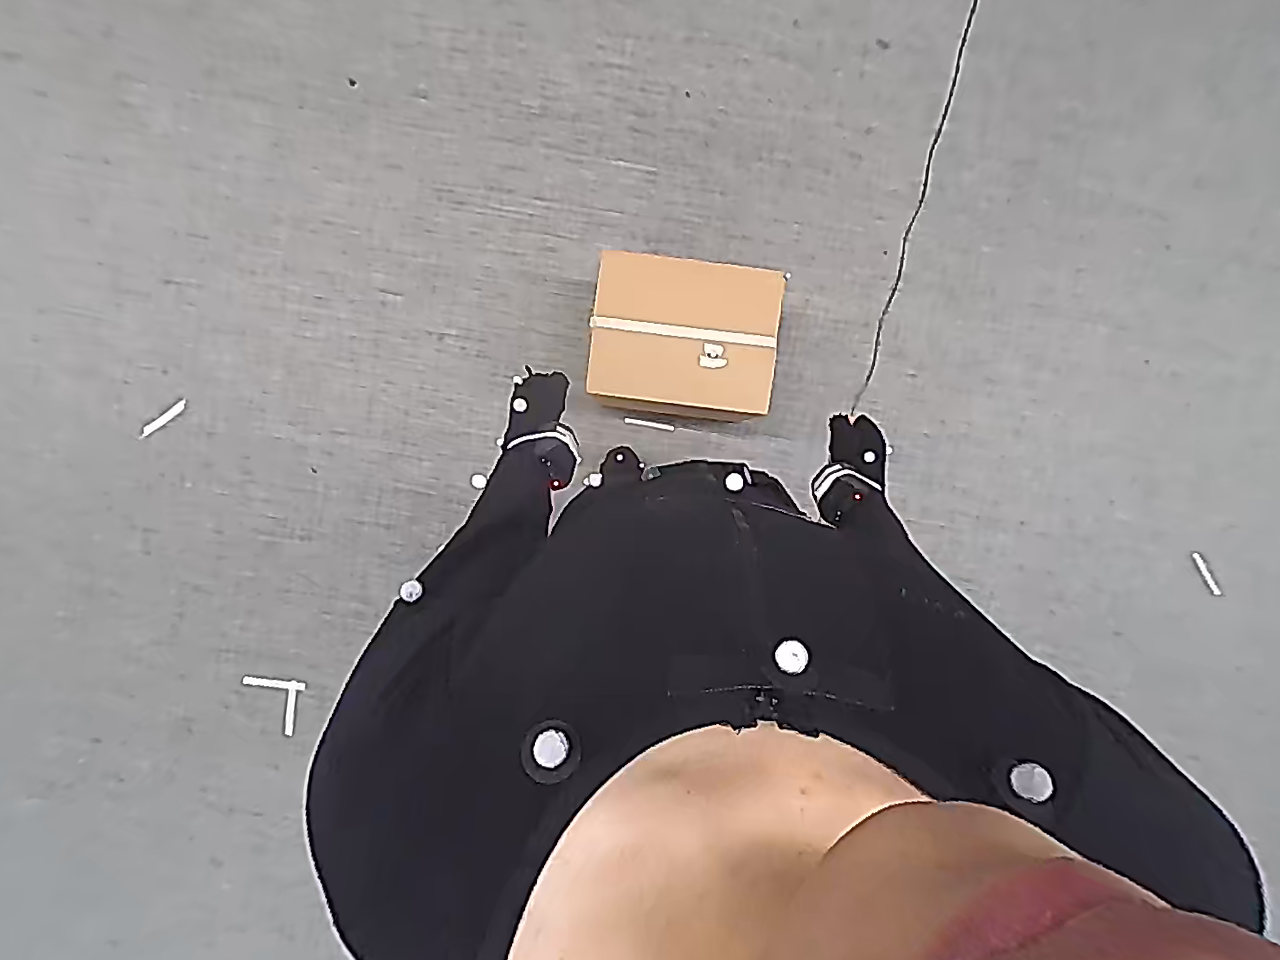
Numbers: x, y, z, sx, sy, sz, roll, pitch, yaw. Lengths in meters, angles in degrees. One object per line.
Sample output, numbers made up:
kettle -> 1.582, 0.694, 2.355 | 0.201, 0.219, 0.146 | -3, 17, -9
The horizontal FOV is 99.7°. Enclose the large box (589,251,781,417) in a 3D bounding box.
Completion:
large box -> 0.094, -0.338, 1.337 | 0.408, 0.320, 0.320 | 6, 94, -2
